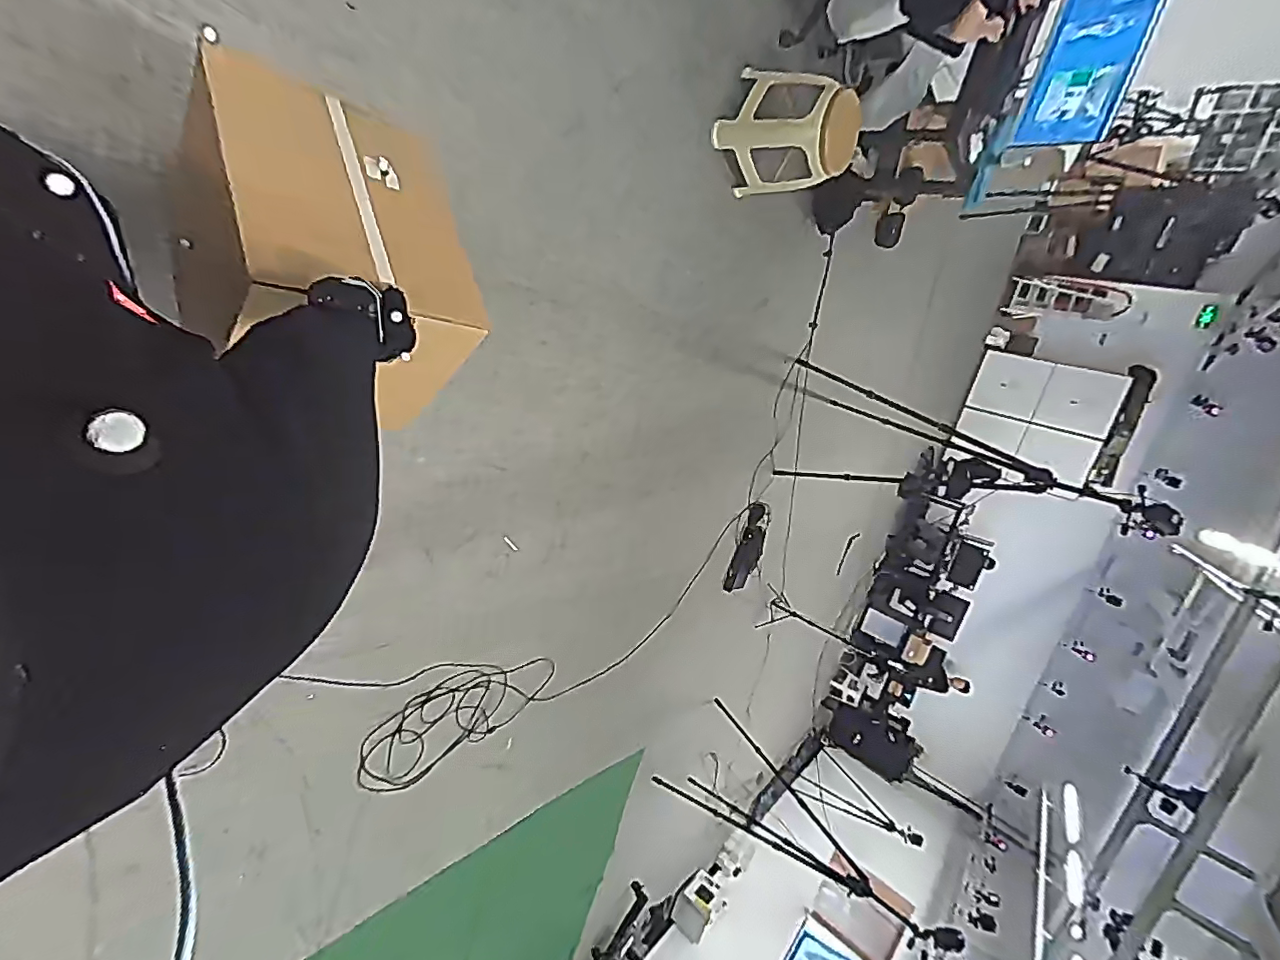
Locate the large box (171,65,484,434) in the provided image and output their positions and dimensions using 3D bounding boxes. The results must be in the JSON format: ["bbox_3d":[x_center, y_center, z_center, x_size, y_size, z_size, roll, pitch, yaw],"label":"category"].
[{"bbox_3d":[-0.514,-0.320,0.872,0.320,0.408,0.320,-35,160,35],"label":"large box"}]
